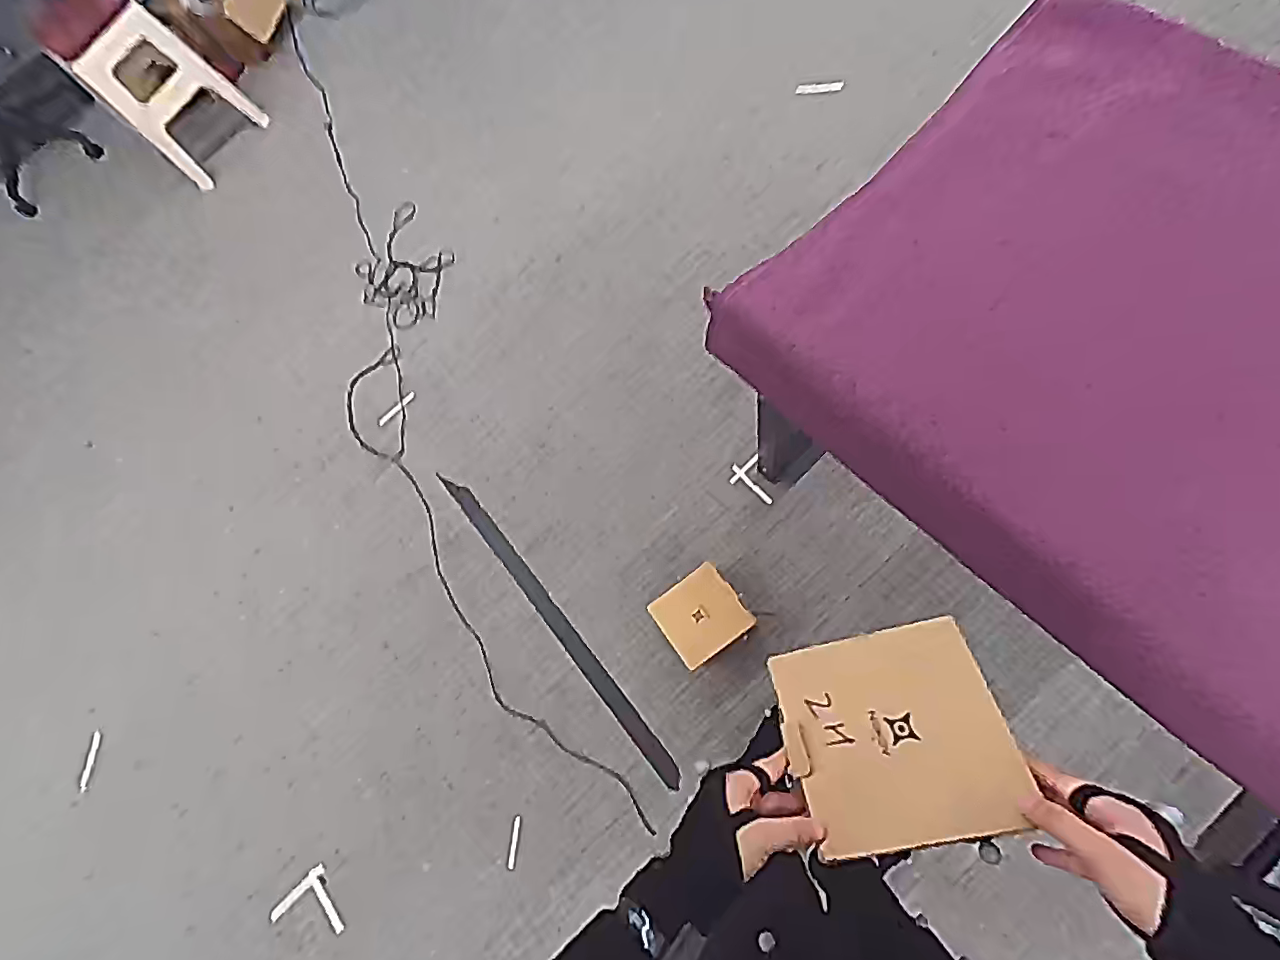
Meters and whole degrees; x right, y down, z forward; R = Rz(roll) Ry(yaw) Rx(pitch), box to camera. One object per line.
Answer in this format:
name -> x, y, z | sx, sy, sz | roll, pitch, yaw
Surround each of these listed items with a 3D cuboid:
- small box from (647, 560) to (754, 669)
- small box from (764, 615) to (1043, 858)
small box -> 0.145, 0.306, 1.231 | 0.179, 0.176, 0.168 | -37, 71, 0
small box -> 0.237, 0.256, 0.527 | 0.179, 0.176, 0.168 | -19, 51, 10
